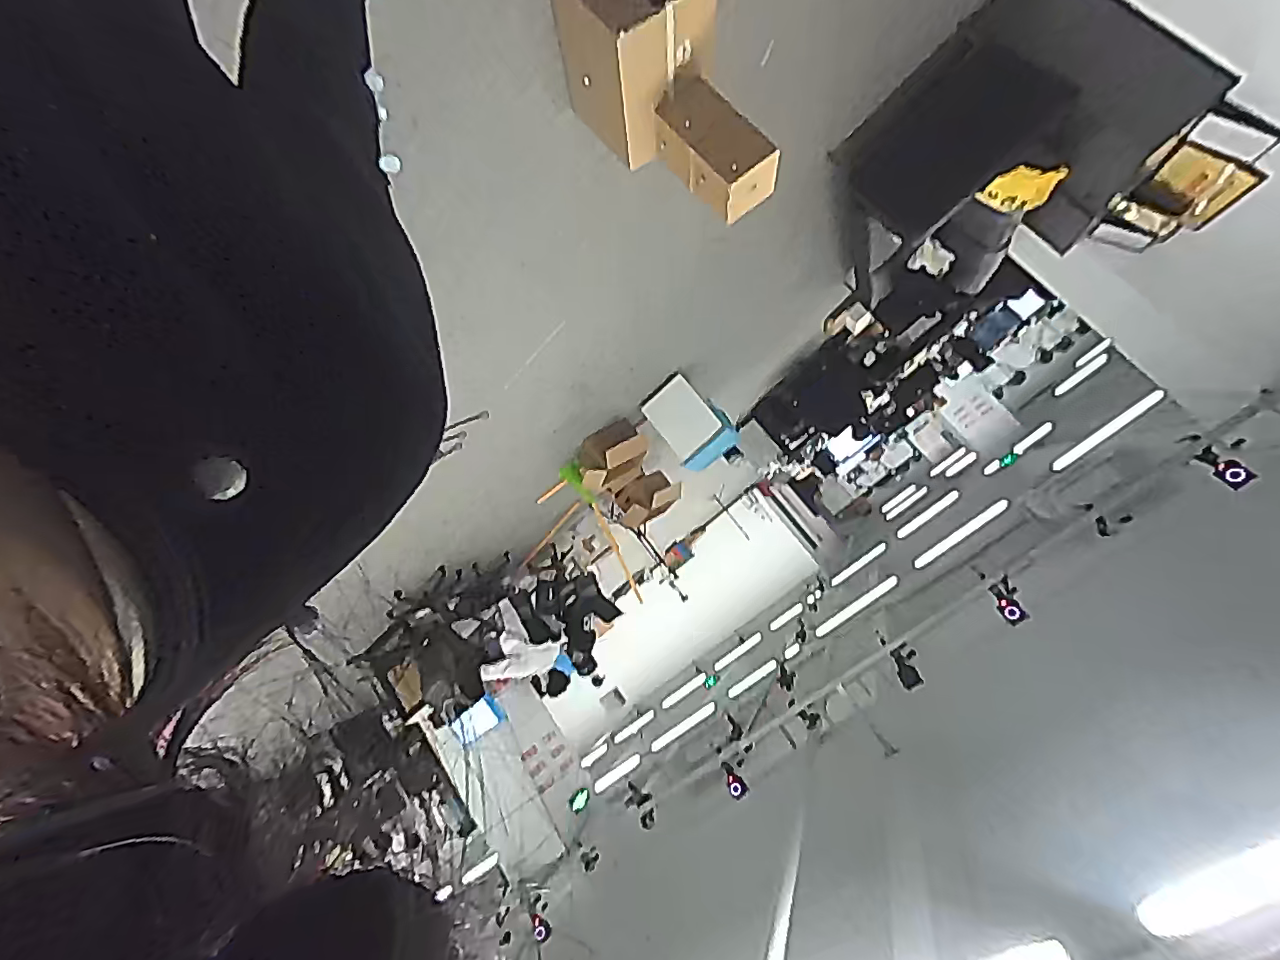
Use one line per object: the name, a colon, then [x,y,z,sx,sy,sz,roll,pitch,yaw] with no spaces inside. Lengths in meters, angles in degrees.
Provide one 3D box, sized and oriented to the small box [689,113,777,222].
small box: [0.259,-0.891,1.540,0.179,0.176,0.168,-38,166,-2]
